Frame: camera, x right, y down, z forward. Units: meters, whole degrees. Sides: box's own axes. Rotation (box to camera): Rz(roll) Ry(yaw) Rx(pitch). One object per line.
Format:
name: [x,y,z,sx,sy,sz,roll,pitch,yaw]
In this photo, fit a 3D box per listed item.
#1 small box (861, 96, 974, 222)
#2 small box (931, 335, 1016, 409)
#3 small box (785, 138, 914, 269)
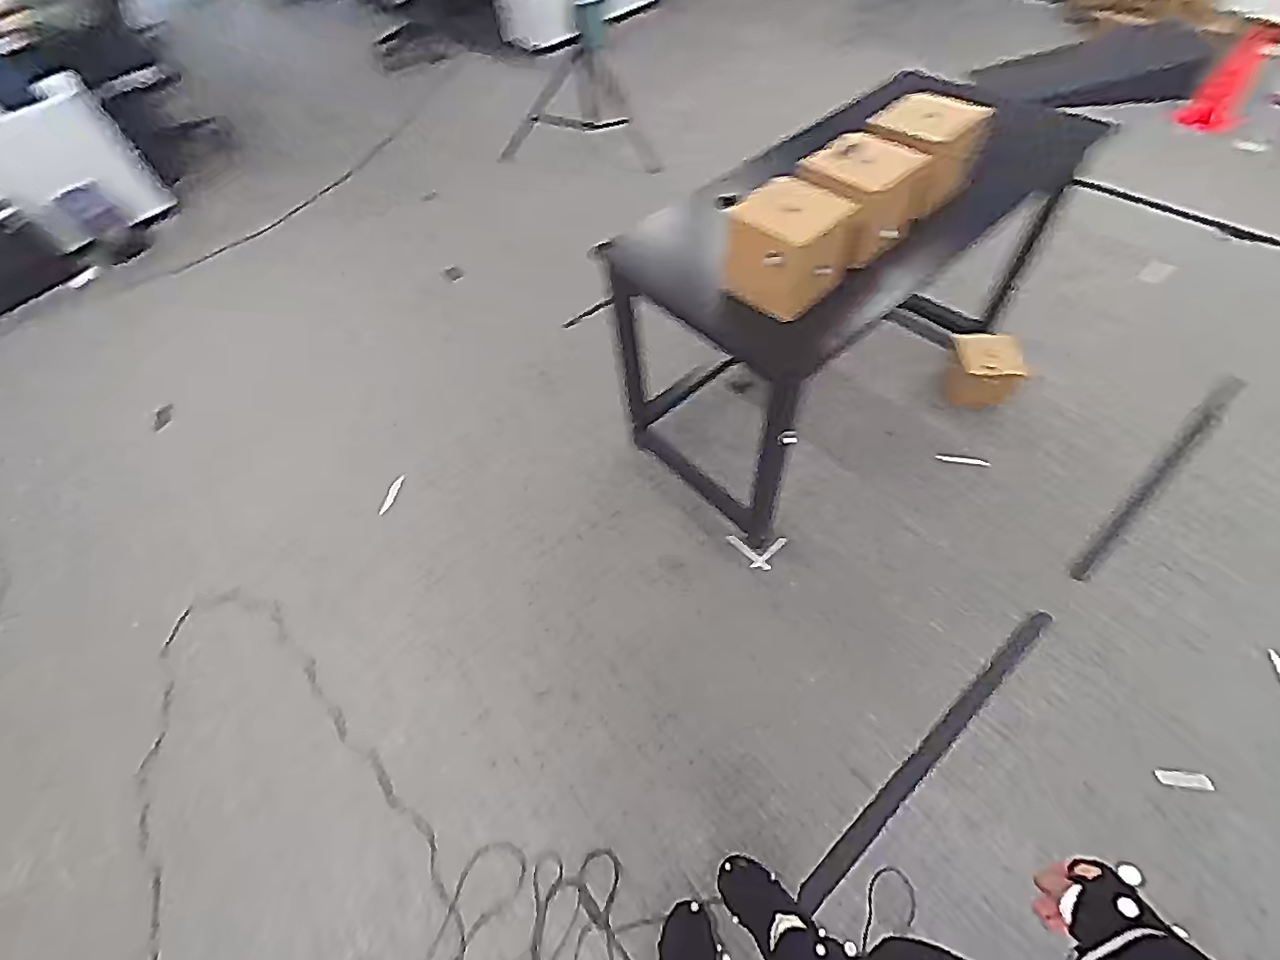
small box: [0.597,-0.717,1.213,0.179,0.176,0.168,-40,60,-18]
small box: [1.094,-0.356,1.793,0.168,0.176,0.179,-1,56,6]
small box: [0.428,-0.578,1.137,0.168,0.176,0.179,-39,61,-18]
